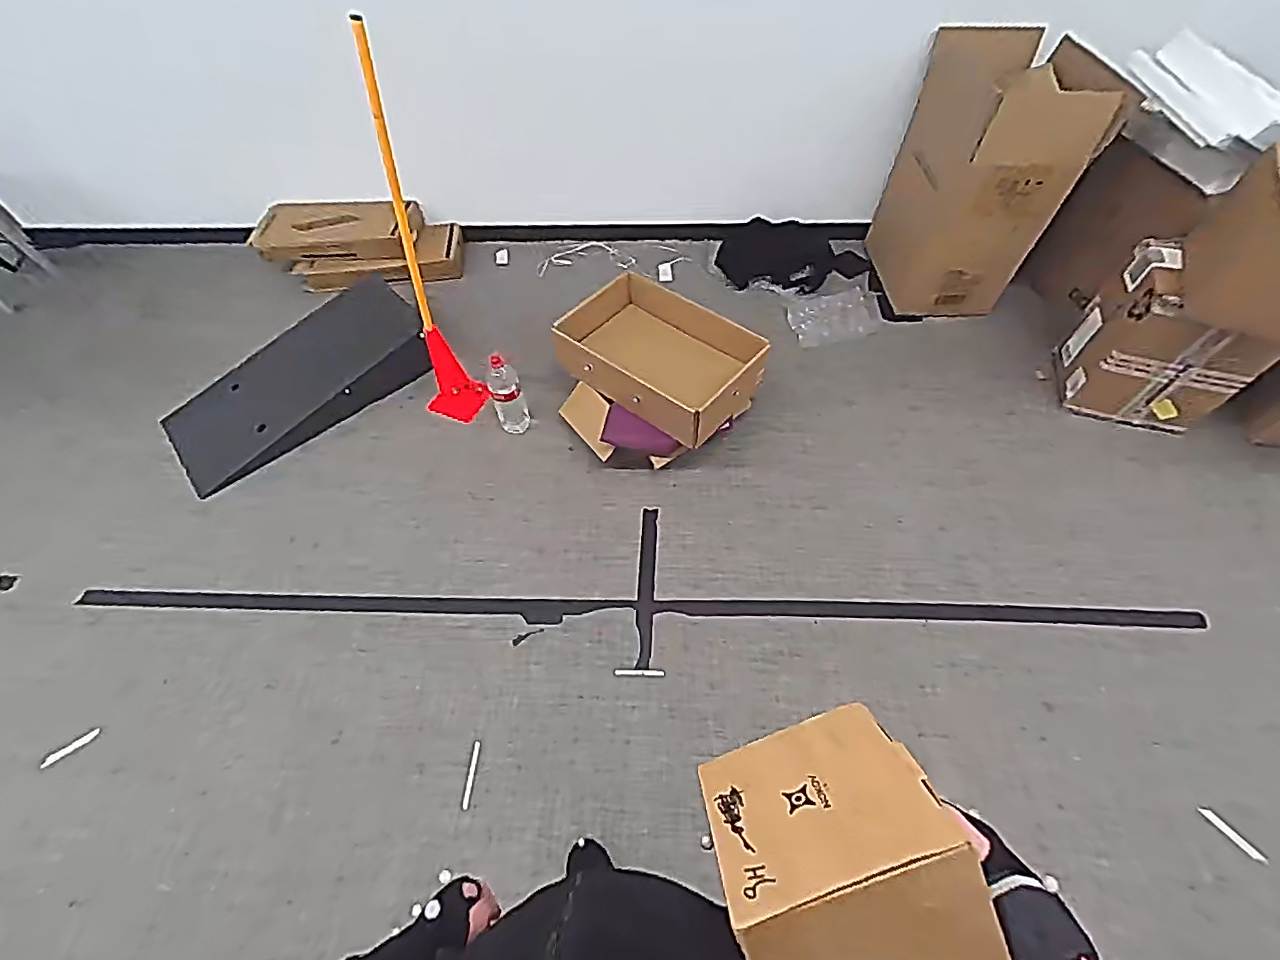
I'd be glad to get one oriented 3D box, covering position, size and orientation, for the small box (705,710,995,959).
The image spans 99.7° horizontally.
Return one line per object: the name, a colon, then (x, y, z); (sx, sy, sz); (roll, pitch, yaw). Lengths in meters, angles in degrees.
small box: (0.176, 0.347, 0.475); (0.179, 0.168, 0.176); (-22, 99, 1)
